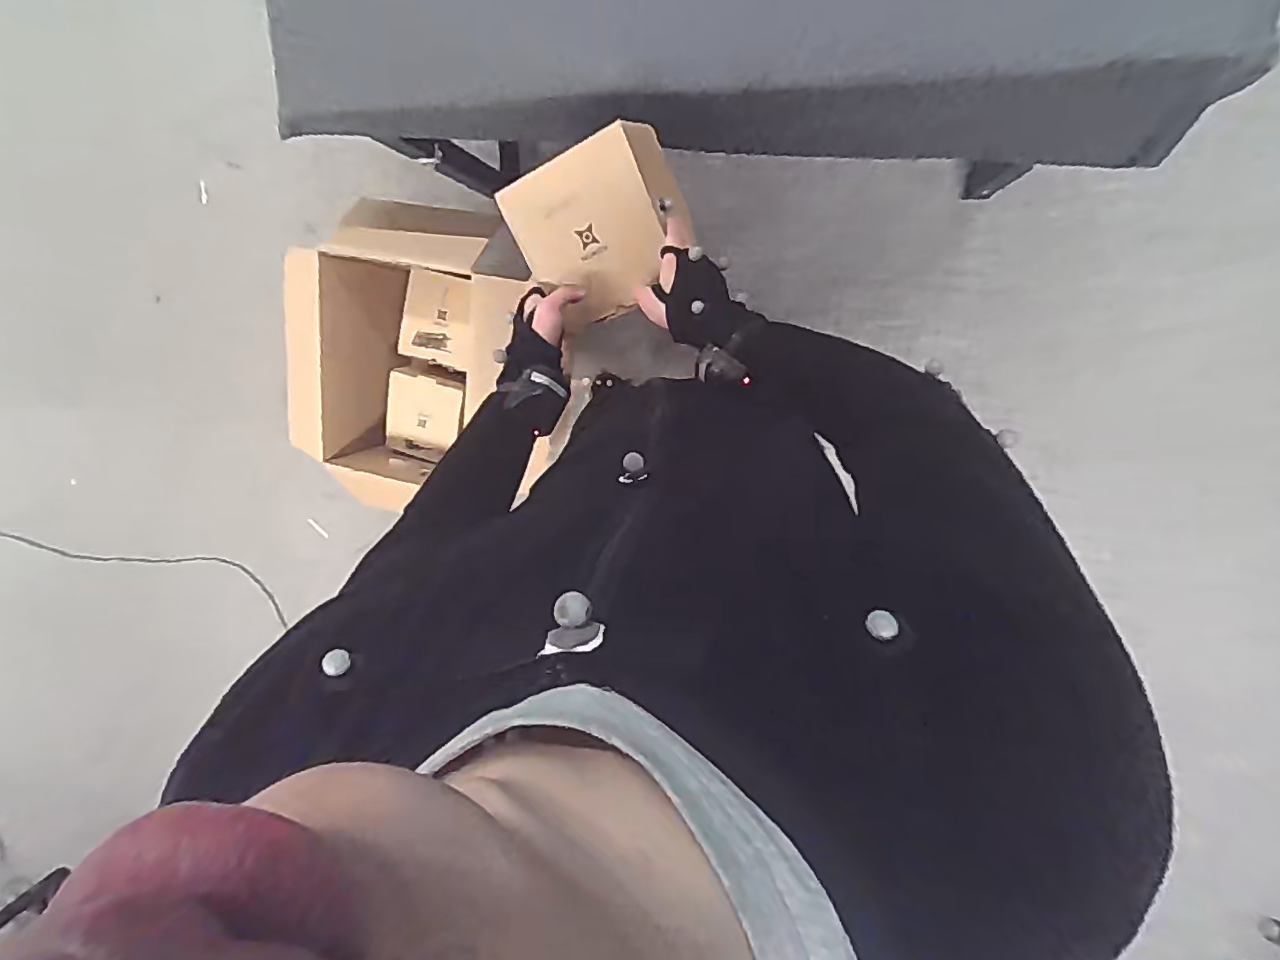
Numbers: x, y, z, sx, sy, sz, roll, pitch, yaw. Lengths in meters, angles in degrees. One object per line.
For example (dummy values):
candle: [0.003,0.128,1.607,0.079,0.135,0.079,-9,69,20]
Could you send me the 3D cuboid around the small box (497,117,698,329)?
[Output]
small box: [-0.037,-0.317,0.673,0.168,0.176,0.179,-17,115,23]
